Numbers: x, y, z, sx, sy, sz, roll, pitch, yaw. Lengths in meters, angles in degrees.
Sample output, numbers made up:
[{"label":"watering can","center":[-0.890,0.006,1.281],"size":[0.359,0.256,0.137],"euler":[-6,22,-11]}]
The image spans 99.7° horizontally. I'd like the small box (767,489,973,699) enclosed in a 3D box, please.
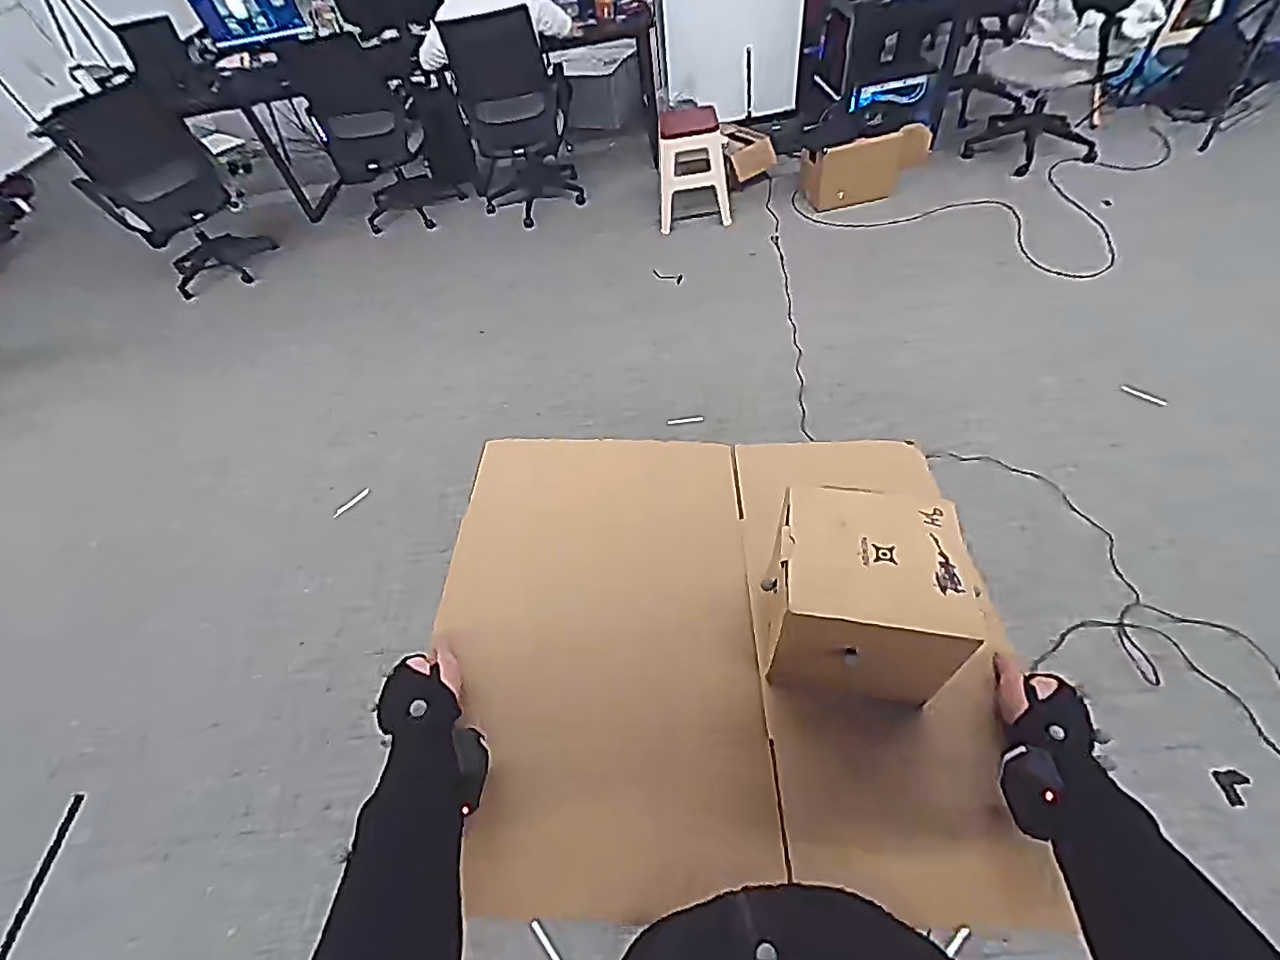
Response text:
[{"label":"small box","center":[0.241,0.131,0.616],"size":[0.179,0.176,0.168],"euler":[5,50,11]}]
